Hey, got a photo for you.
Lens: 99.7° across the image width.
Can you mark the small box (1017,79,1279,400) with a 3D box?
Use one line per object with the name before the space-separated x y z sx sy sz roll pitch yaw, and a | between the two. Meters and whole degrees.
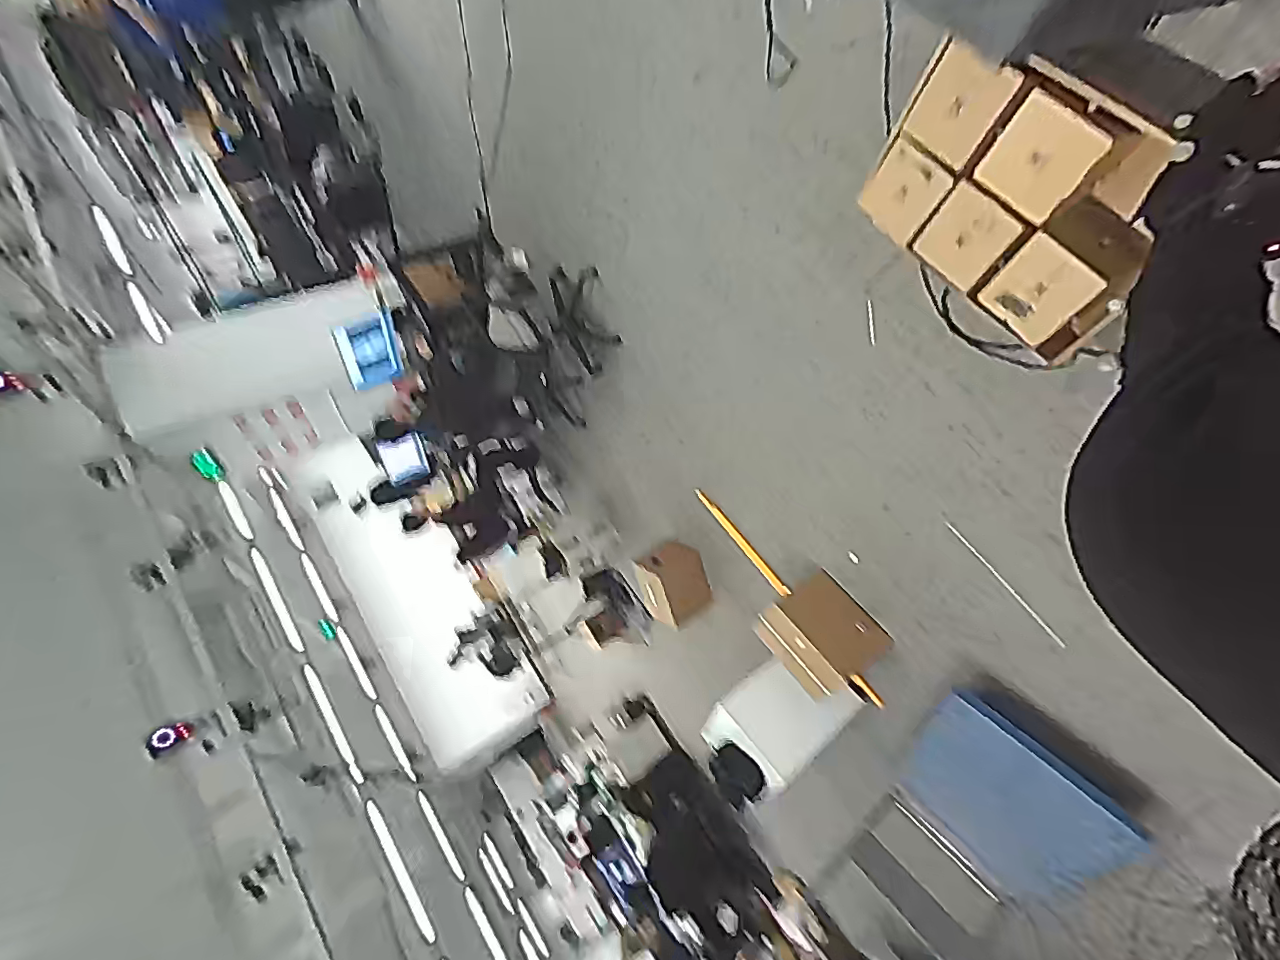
small box | 0.463 -0.199 0.468 0.168 0.179 0.176 53 137 -1
